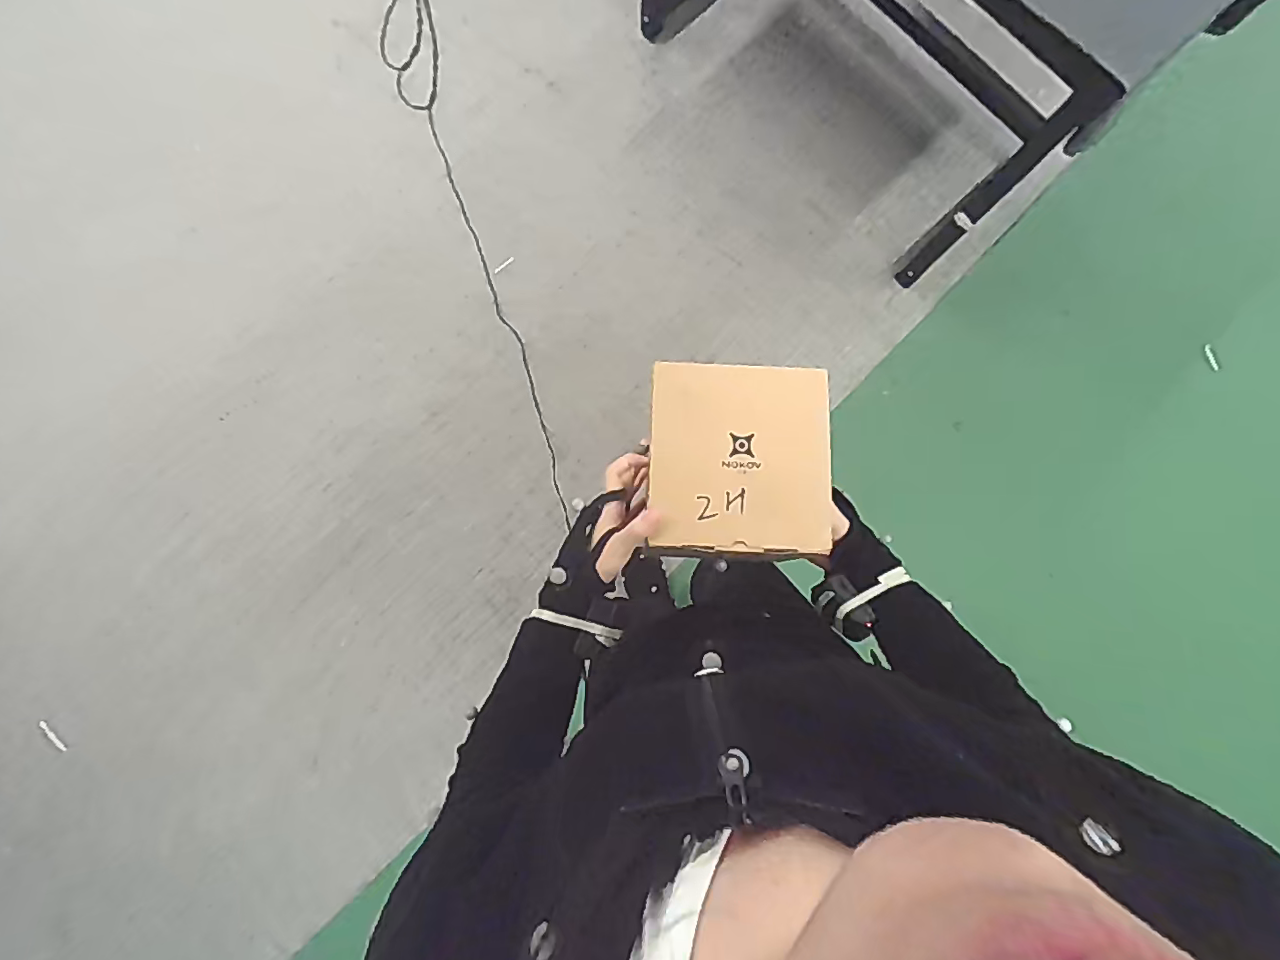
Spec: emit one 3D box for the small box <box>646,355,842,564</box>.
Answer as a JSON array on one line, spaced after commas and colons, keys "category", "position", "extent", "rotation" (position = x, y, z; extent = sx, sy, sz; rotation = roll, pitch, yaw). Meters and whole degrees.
[{"category": "small box", "position": [0.094, -0.009, 0.558], "extent": [0.168, 0.176, 0.179], "rotation": [3, 79, -1]}]
